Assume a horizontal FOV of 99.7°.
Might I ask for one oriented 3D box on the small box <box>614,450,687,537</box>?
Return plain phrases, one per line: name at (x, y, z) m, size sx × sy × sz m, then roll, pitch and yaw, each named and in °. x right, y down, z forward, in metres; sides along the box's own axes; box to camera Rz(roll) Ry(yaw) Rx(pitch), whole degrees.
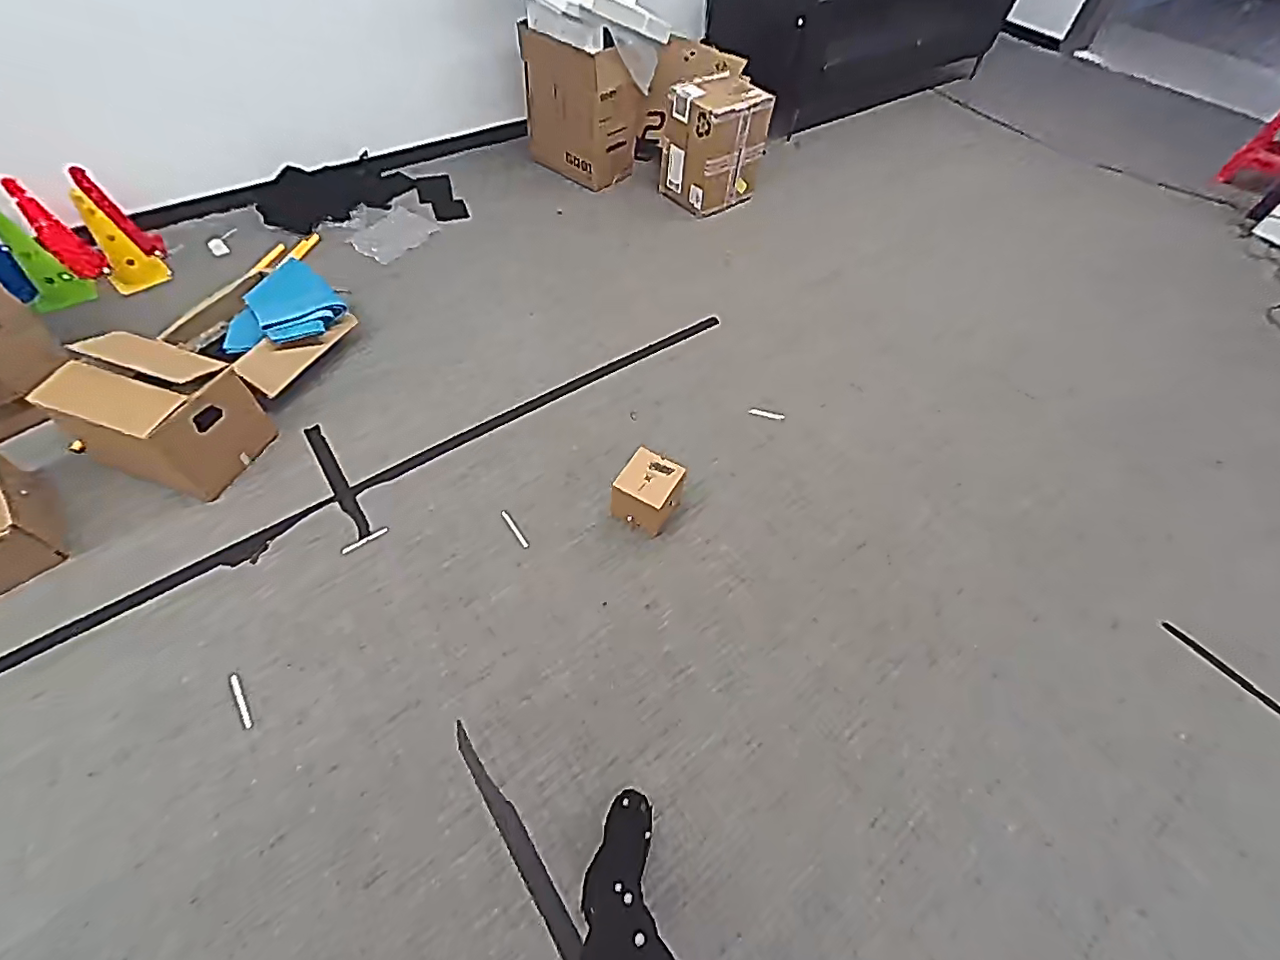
small box at (0.026, 0.046, 1.694) m, size 0.168 × 0.176 × 0.179 m, roll 27°, pitch 58°, yaw 15°
